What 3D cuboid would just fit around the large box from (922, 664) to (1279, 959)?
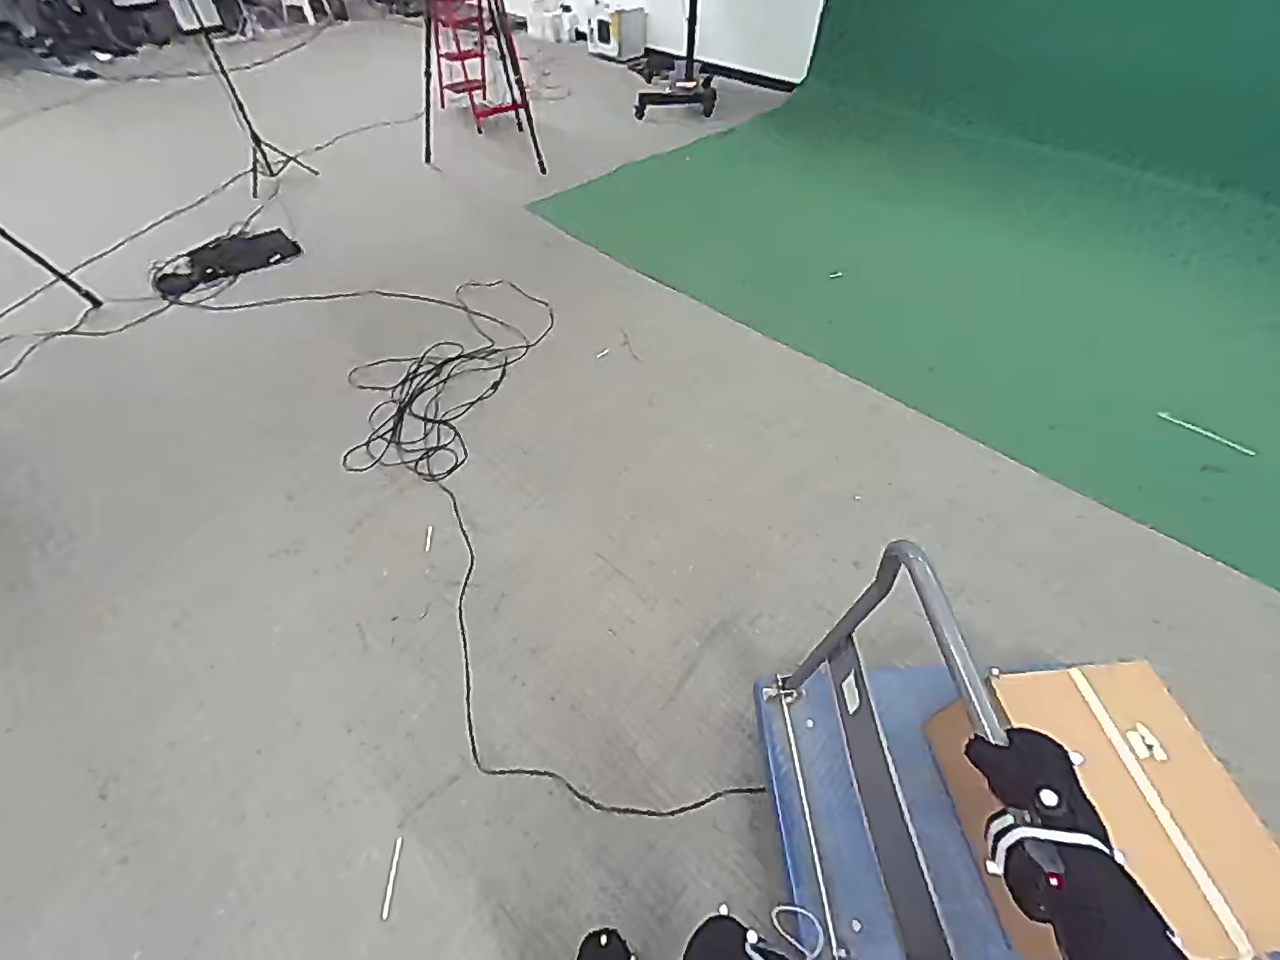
[{"bbox_3d":[0.796,0.601,0.979,0.320,0.320,0.408,-4,49,-5],"label":"large box"}]
